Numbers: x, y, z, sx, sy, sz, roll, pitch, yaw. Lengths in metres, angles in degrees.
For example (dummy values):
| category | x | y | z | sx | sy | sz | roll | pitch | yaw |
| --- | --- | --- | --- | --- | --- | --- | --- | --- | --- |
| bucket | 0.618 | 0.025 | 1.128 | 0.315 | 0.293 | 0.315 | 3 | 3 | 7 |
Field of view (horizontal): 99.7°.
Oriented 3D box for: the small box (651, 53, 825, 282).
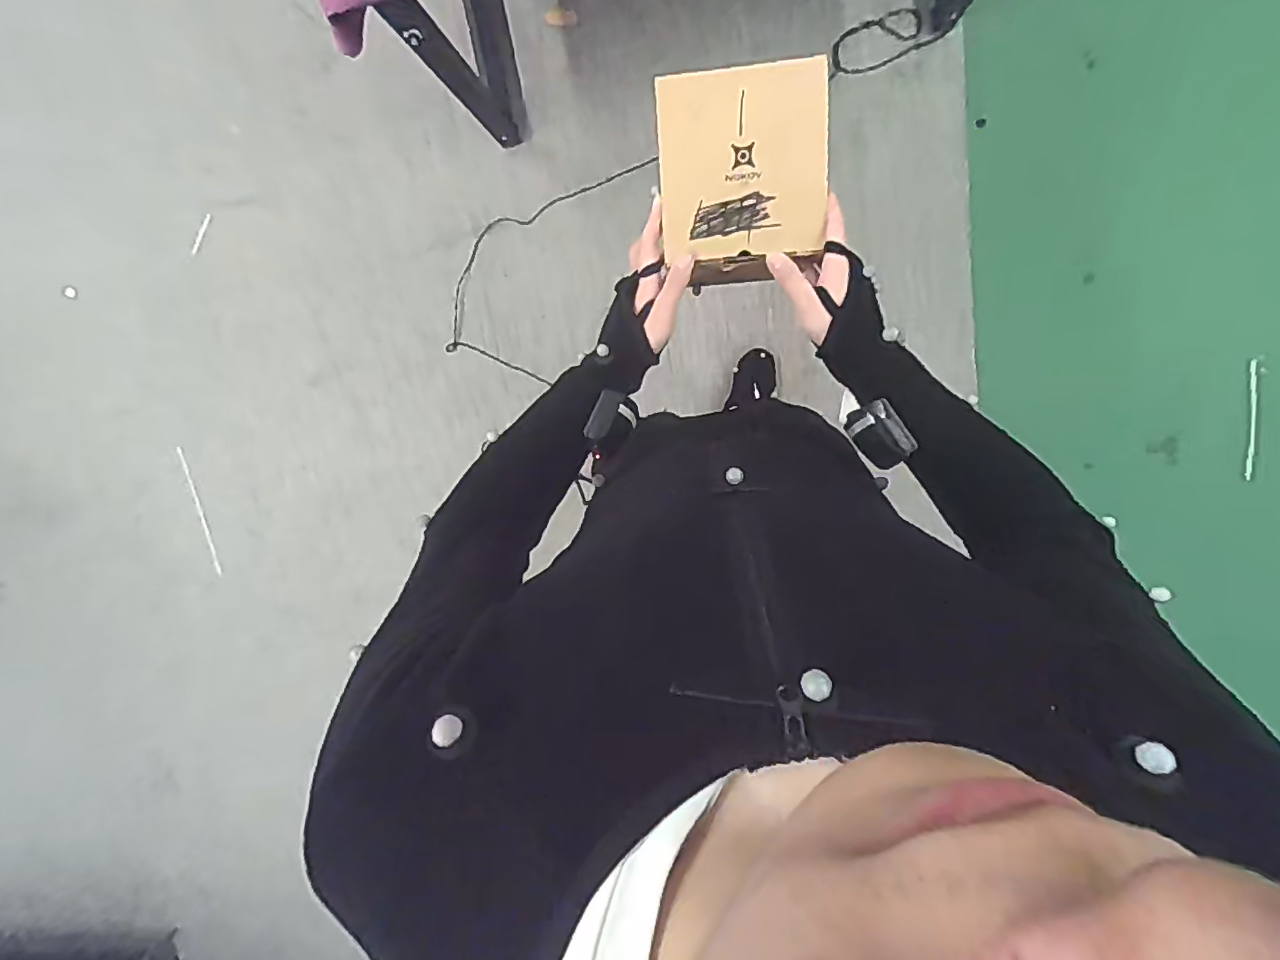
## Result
| category | x | y | z | sx | sy | sz | roll | pitch | yaw |
| --- | --- | --- | --- | --- | --- | --- | --- | --- | --- |
| small box | 0.104 | -0.325 | 0.605 | 0.168 | 0.176 | 0.179 | -3 | 100 | 6 |
